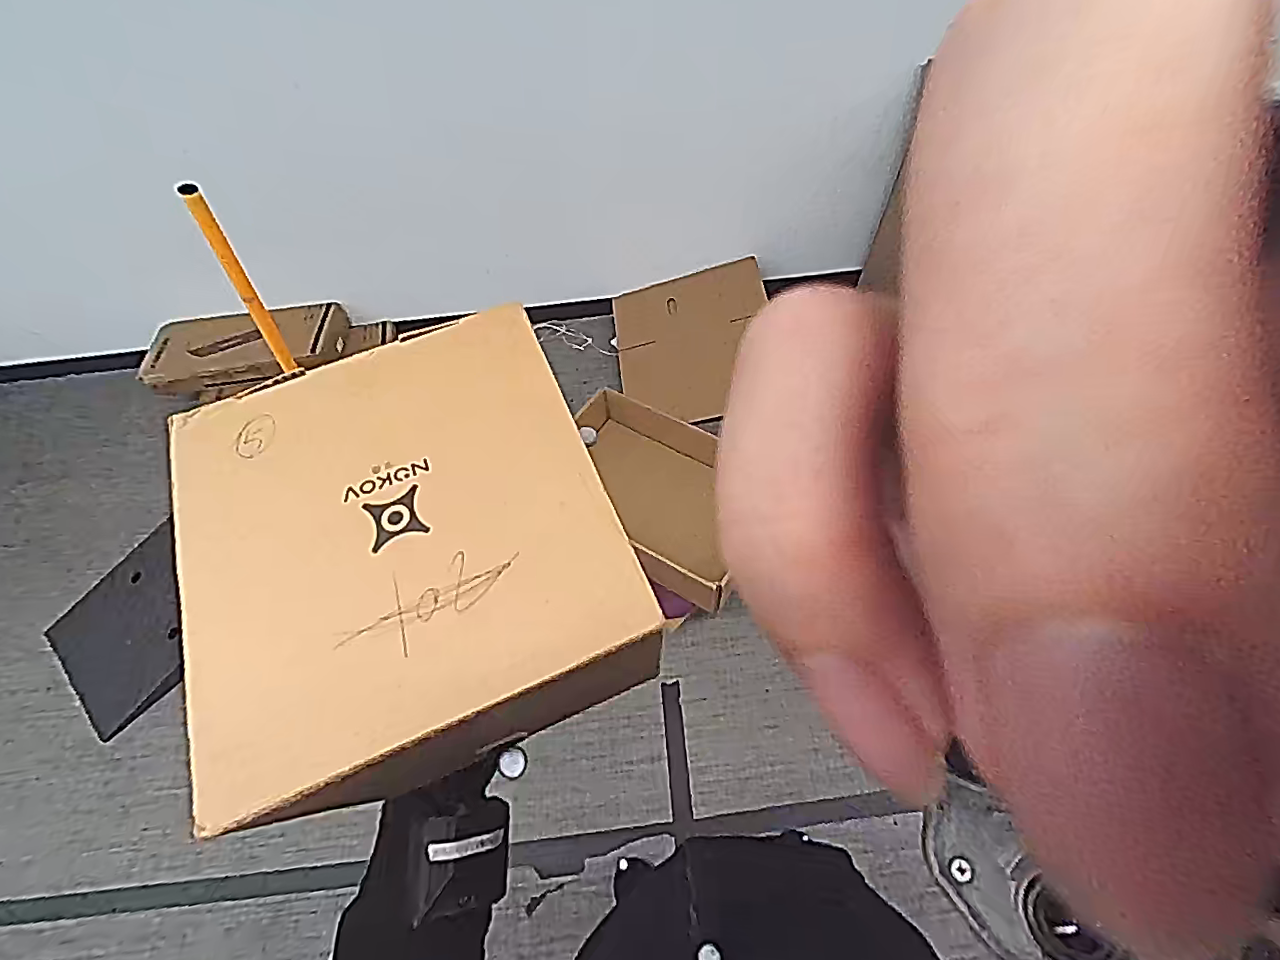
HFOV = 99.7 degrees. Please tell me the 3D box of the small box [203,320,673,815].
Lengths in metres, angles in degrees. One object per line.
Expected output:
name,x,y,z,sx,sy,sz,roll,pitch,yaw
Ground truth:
small box,-0.094,0.051,0.301,0.168,0.176,0.179,-22,66,-9
